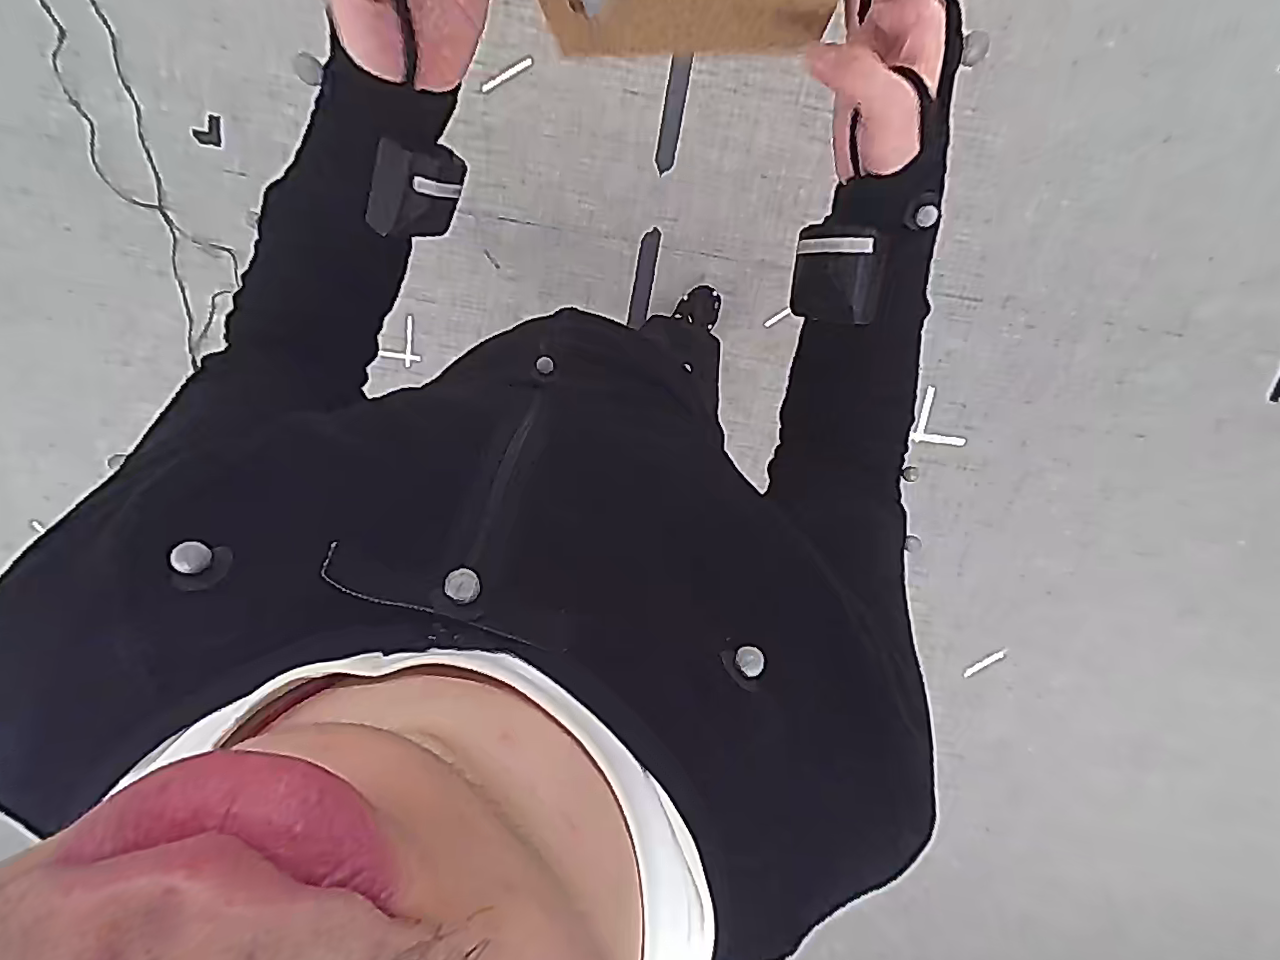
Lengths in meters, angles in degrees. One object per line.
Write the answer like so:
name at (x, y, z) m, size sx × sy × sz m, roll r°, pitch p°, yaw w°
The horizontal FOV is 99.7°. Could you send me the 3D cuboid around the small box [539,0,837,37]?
small box at (0.026, -0.338, 0.255) m, size 0.176 × 0.168 × 0.179 m, roll 3°, pitch 120°, yaw 5°
